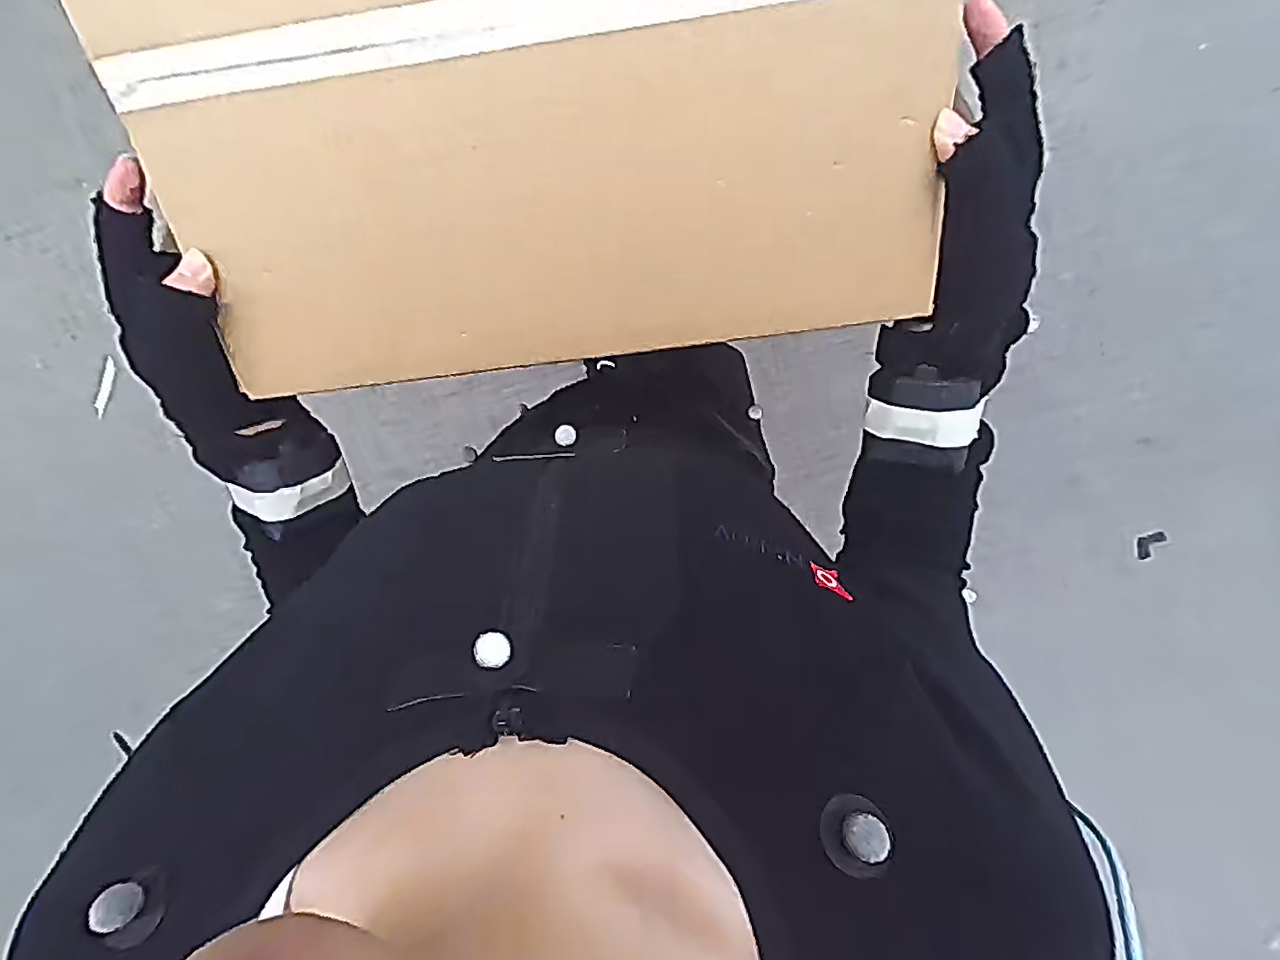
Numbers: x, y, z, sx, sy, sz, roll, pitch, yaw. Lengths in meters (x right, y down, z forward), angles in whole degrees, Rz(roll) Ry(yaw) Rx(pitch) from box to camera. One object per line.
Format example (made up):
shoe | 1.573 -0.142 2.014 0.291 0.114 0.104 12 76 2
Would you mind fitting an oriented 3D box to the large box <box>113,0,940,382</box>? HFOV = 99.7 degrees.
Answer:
large box | -0.055 -0.282 0.400 0.408 0.320 0.320 -7 115 3
